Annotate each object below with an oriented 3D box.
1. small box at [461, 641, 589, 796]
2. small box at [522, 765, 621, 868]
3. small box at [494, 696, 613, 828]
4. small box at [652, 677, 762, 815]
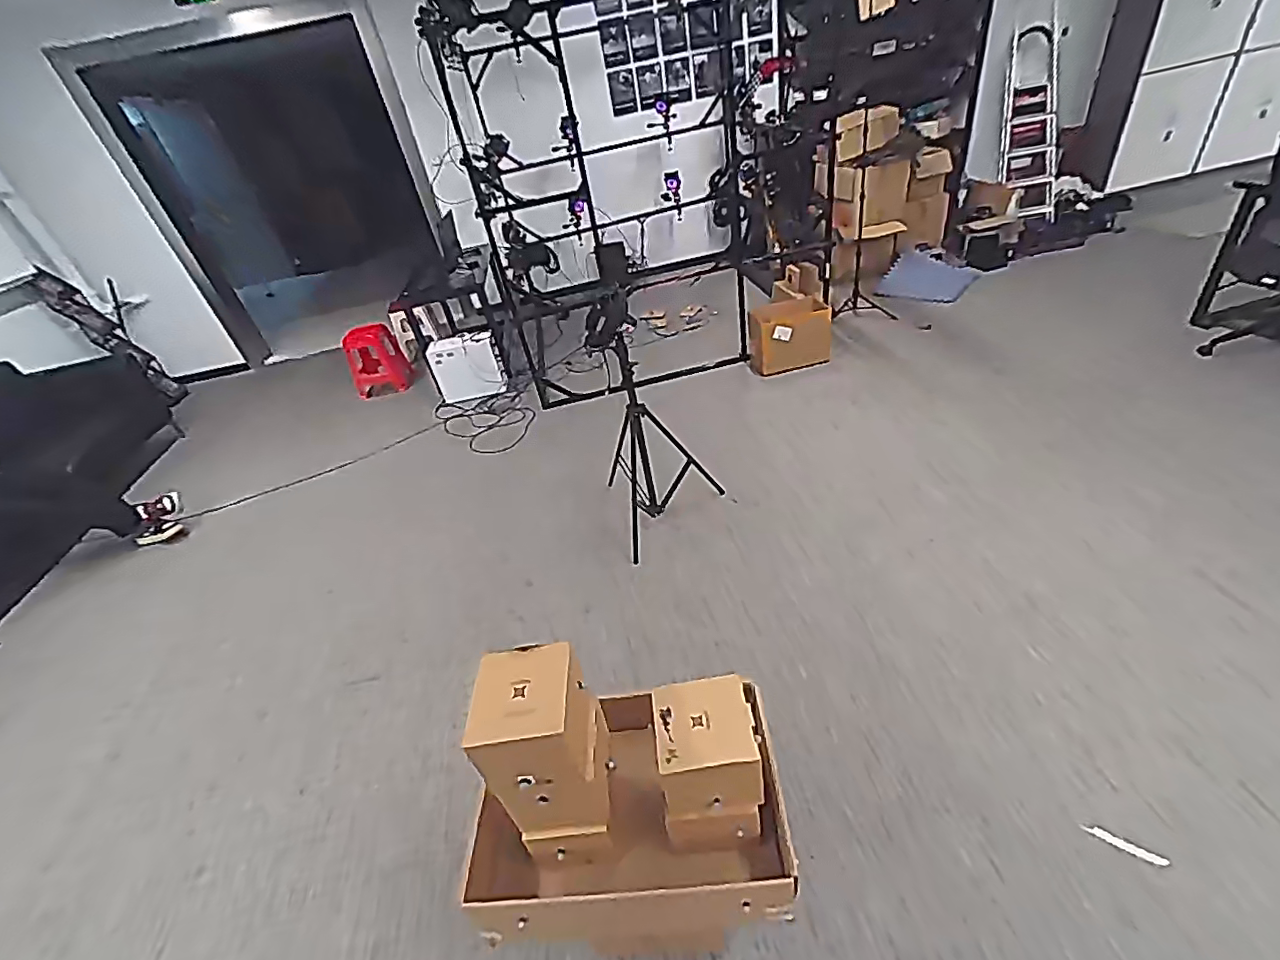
[{"bbox_3d":[-0.187,0.411,0.938,0.168,0.176,0.179,-10,35,3],"label":"small box"},{"bbox_3d":[-0.134,0.678,1.123,0.168,0.176,0.179,-8,35,3],"label":"small box"},{"bbox_3d":[-0.156,0.541,1.034,0.179,0.176,0.168,-7,36,4],"label":"small box"},{"bbox_3d":[0.123,0.496,1.009,0.179,0.176,0.168,-9,36,2],"label":"small box"}]
